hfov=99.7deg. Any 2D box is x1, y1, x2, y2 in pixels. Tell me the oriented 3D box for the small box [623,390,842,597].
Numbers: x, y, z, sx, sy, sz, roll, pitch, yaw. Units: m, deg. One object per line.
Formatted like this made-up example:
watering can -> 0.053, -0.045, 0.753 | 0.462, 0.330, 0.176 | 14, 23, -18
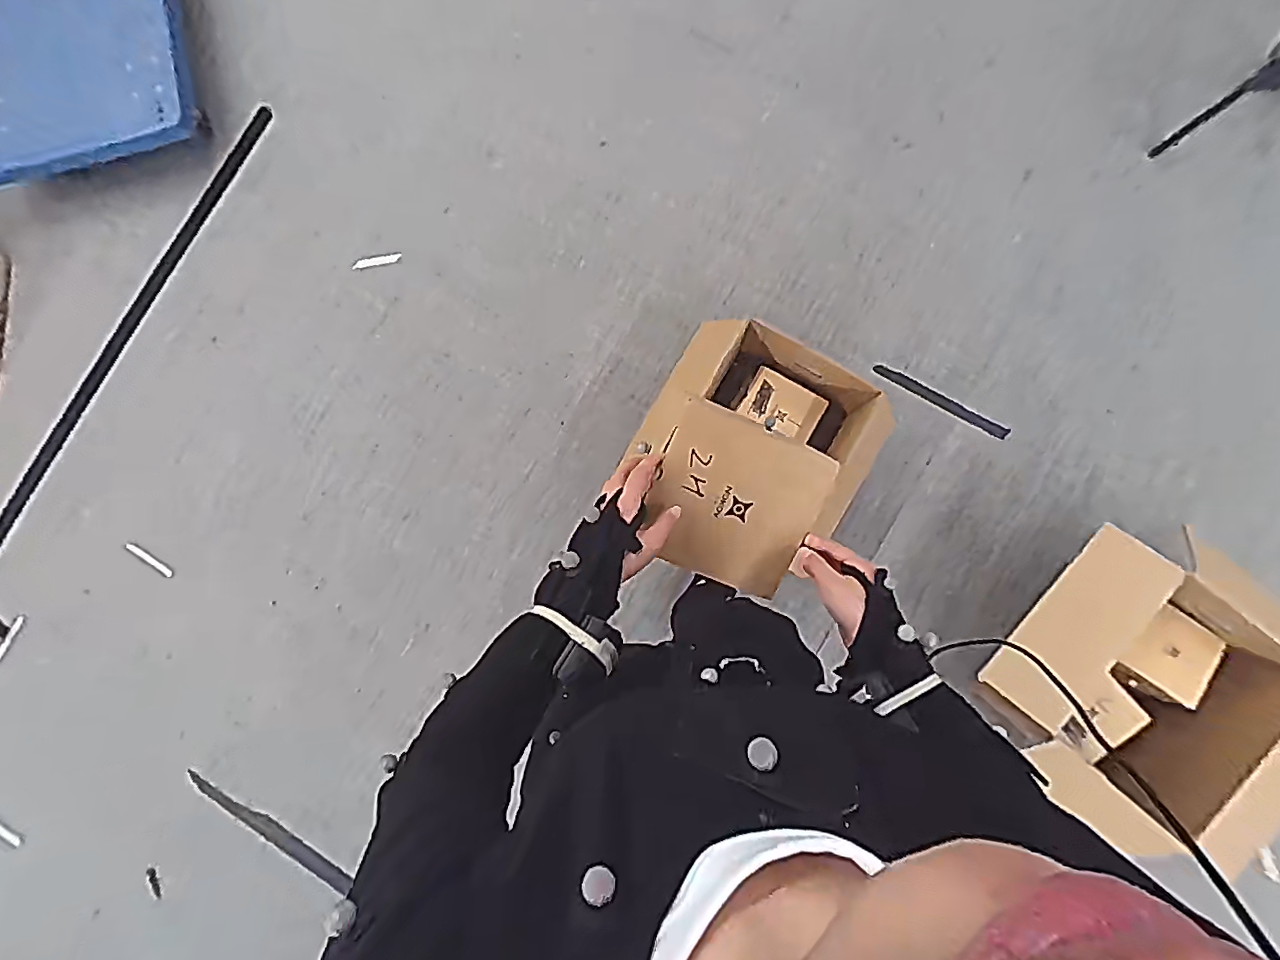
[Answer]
small box -> 0.090, 0.003, 0.625 | 0.179, 0.176, 0.168 | 22, 102, -7
